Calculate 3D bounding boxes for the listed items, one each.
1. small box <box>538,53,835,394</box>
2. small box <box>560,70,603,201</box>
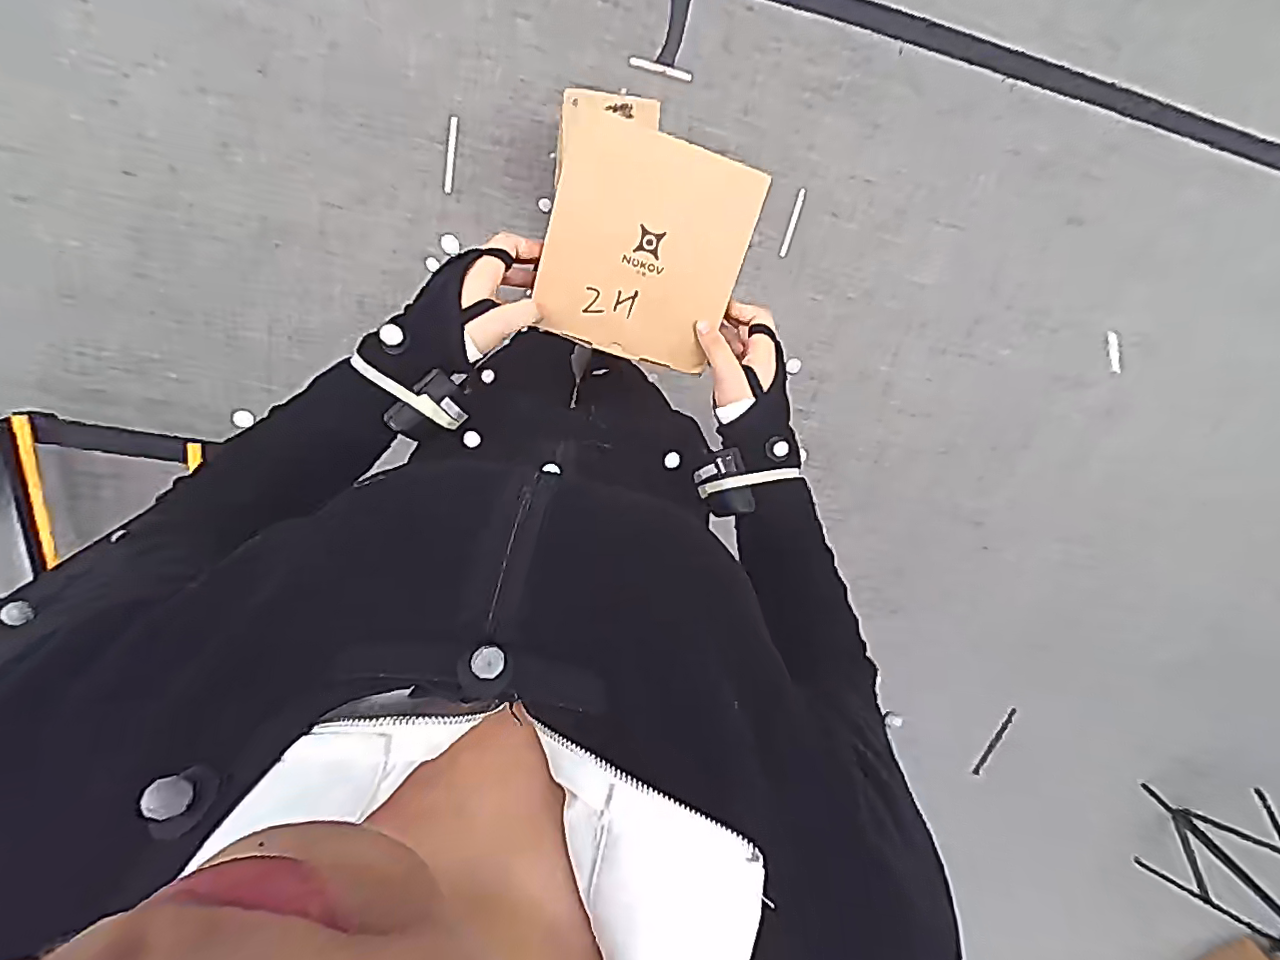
[{"bbox_3d":[0.021,-0.192,0.445,0.168,0.176,0.179,15,109,-11],"label":"small box"},{"bbox_3d":[-0.046,-0.566,0.927,0.168,0.176,0.179,3,114,-6],"label":"small box"}]
